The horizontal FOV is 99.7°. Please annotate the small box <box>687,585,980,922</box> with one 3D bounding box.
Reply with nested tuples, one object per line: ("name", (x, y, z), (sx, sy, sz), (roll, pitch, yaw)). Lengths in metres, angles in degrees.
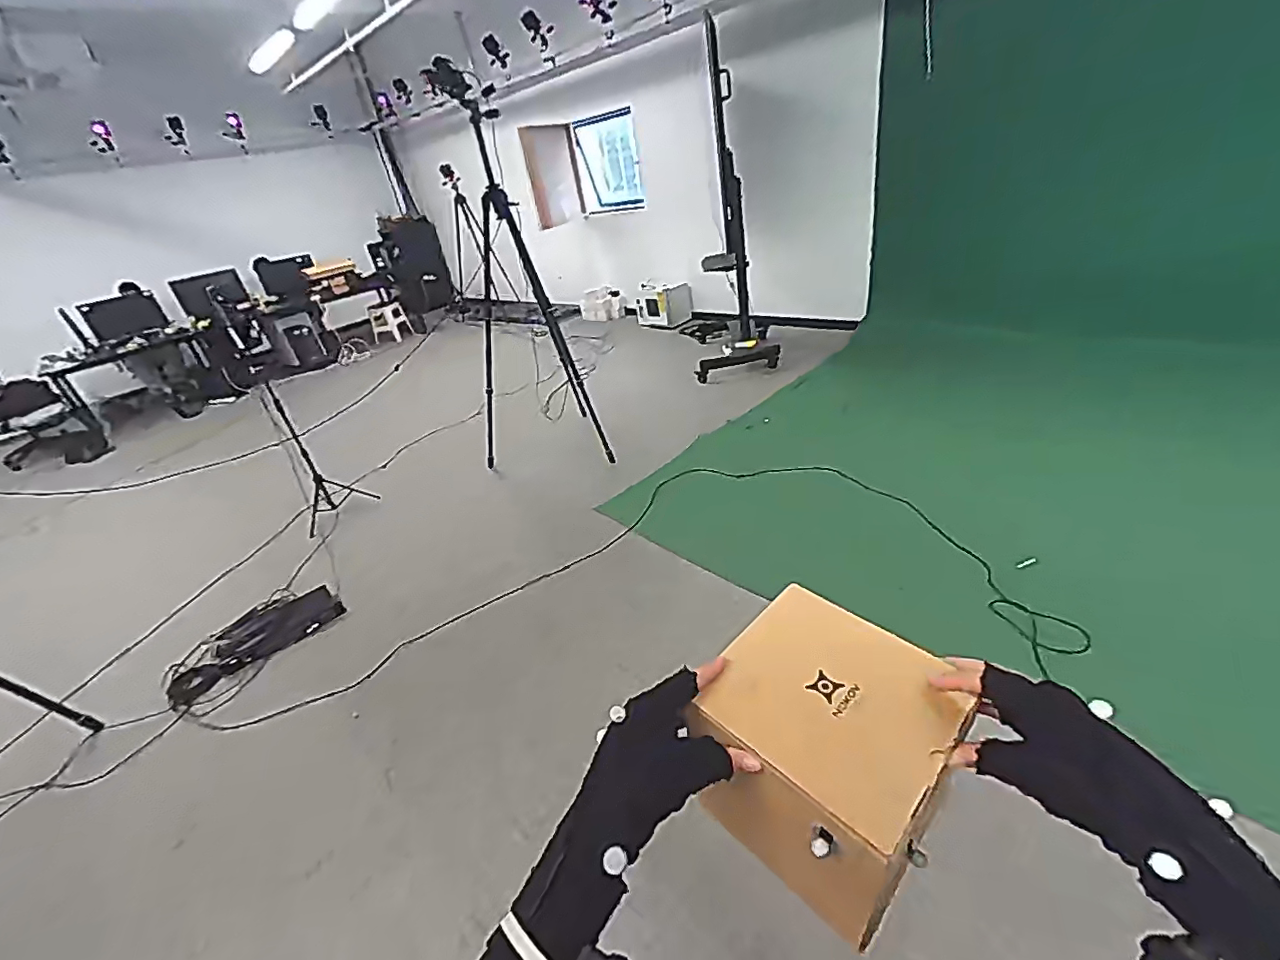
("small box", (0.161, 0.234, 0.484), (0.168, 0.176, 0.179), (-32, 42, -33))
